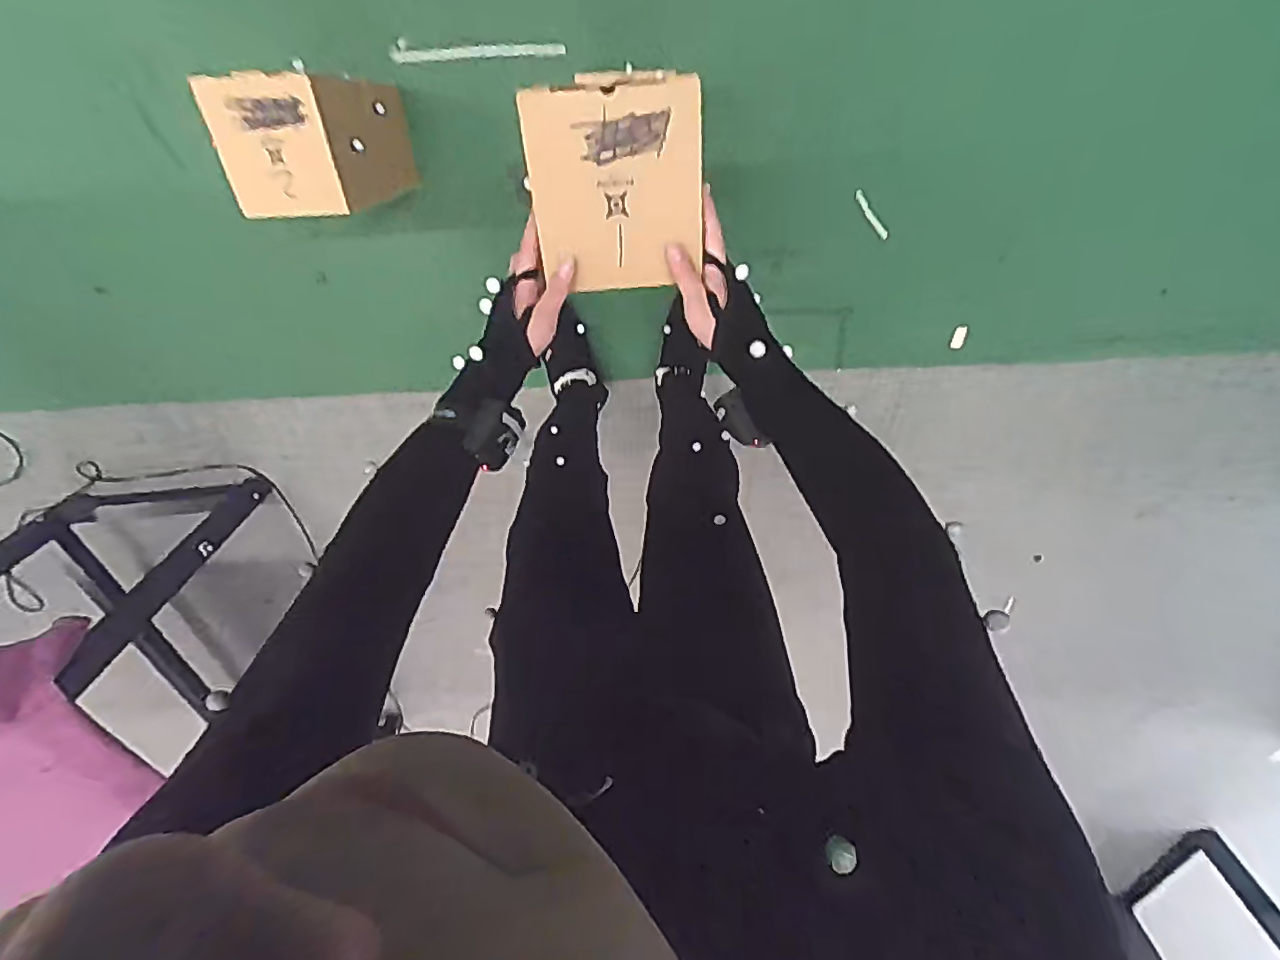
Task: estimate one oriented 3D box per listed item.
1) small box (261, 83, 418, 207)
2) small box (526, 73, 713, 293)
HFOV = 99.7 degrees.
[{"bbox_3d":[-0.525,-0.604,0.977,0.168,0.176,0.179,-2,123,1],"label":"small box"},{"bbox_3d":[-0.016,-0.312,0.576,0.168,0.176,0.179,-4,123,2],"label":"small box"}]
